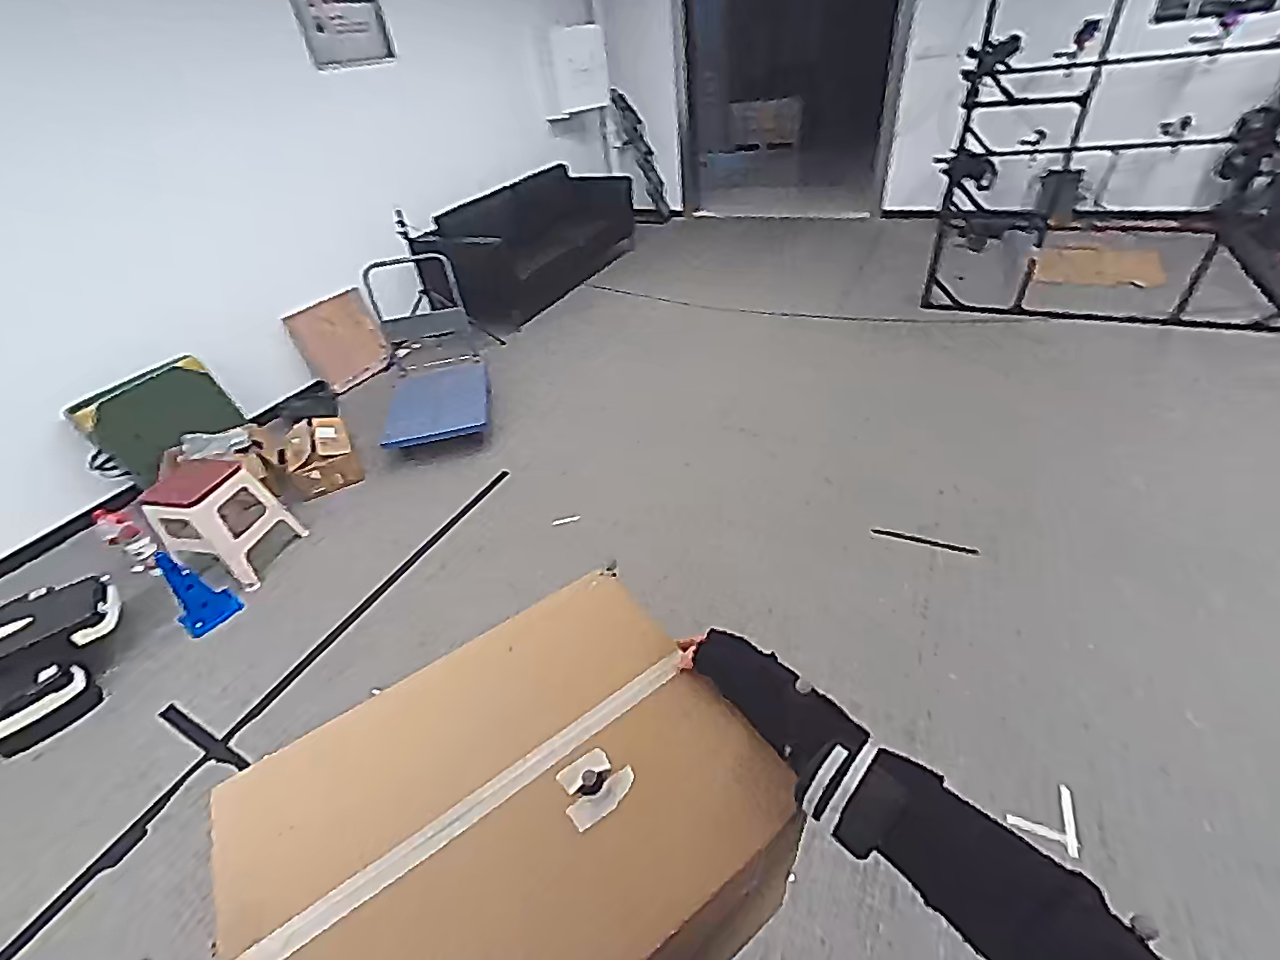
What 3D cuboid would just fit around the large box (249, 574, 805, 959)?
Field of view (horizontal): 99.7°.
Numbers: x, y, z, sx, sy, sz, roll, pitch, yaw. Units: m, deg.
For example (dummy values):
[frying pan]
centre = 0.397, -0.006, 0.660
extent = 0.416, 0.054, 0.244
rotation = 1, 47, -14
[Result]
[large box]
centre = -0.094, 0.381, 0.557
extent = 0.408, 0.320, 0.320
rotation = -27, 44, -23
